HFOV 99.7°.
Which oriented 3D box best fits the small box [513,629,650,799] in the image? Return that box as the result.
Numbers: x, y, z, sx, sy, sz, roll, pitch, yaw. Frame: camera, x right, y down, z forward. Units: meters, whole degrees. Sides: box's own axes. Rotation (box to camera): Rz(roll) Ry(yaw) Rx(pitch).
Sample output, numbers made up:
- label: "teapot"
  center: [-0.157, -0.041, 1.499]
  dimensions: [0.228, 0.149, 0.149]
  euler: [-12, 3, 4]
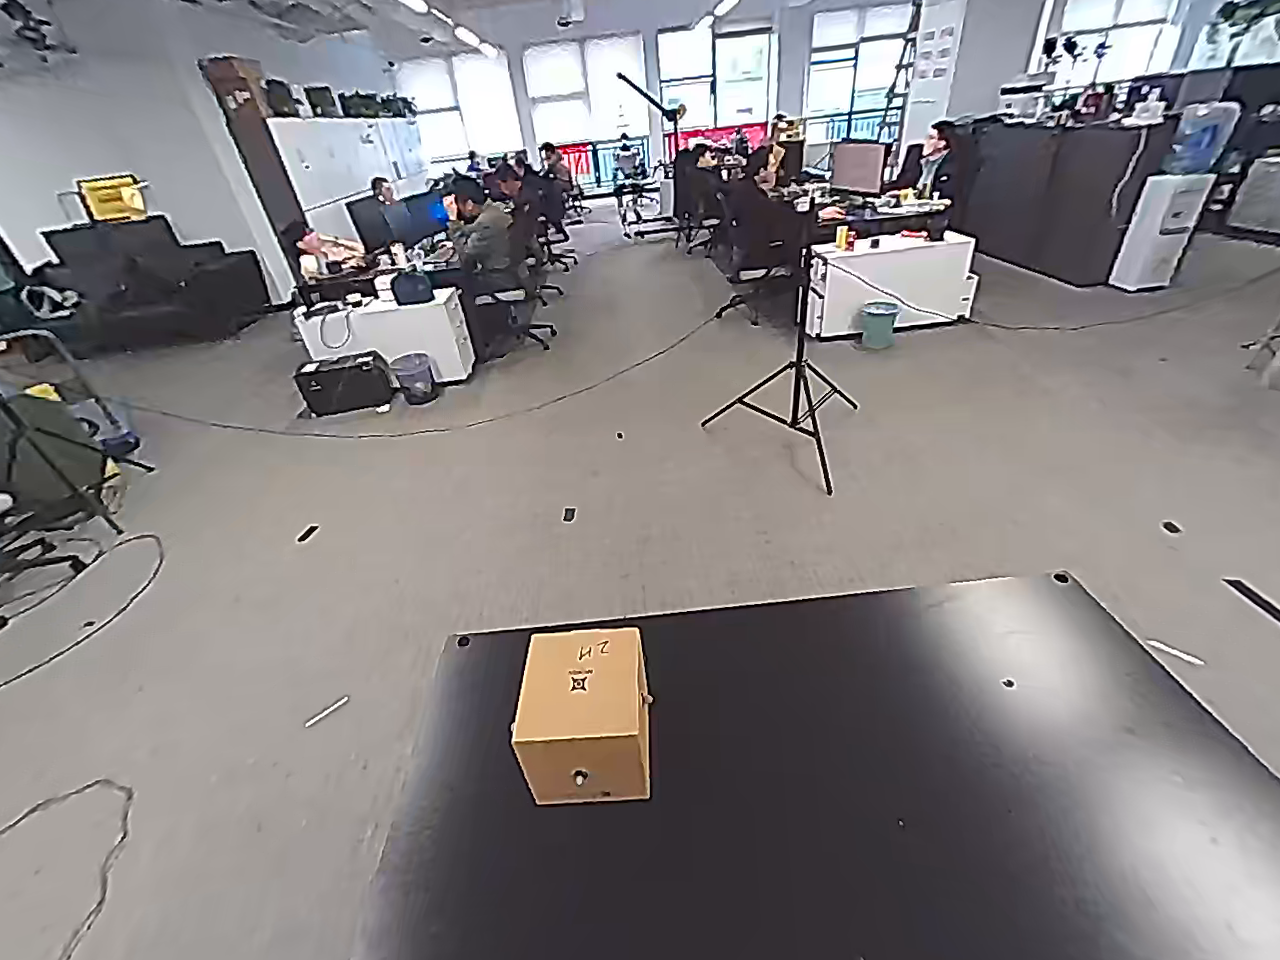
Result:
- label: "small box"
  center: [-0.075, 0.348, 0.800]
  dimensions: [0.168, 0.176, 0.179]
  euler: [-5, 33, 3]
